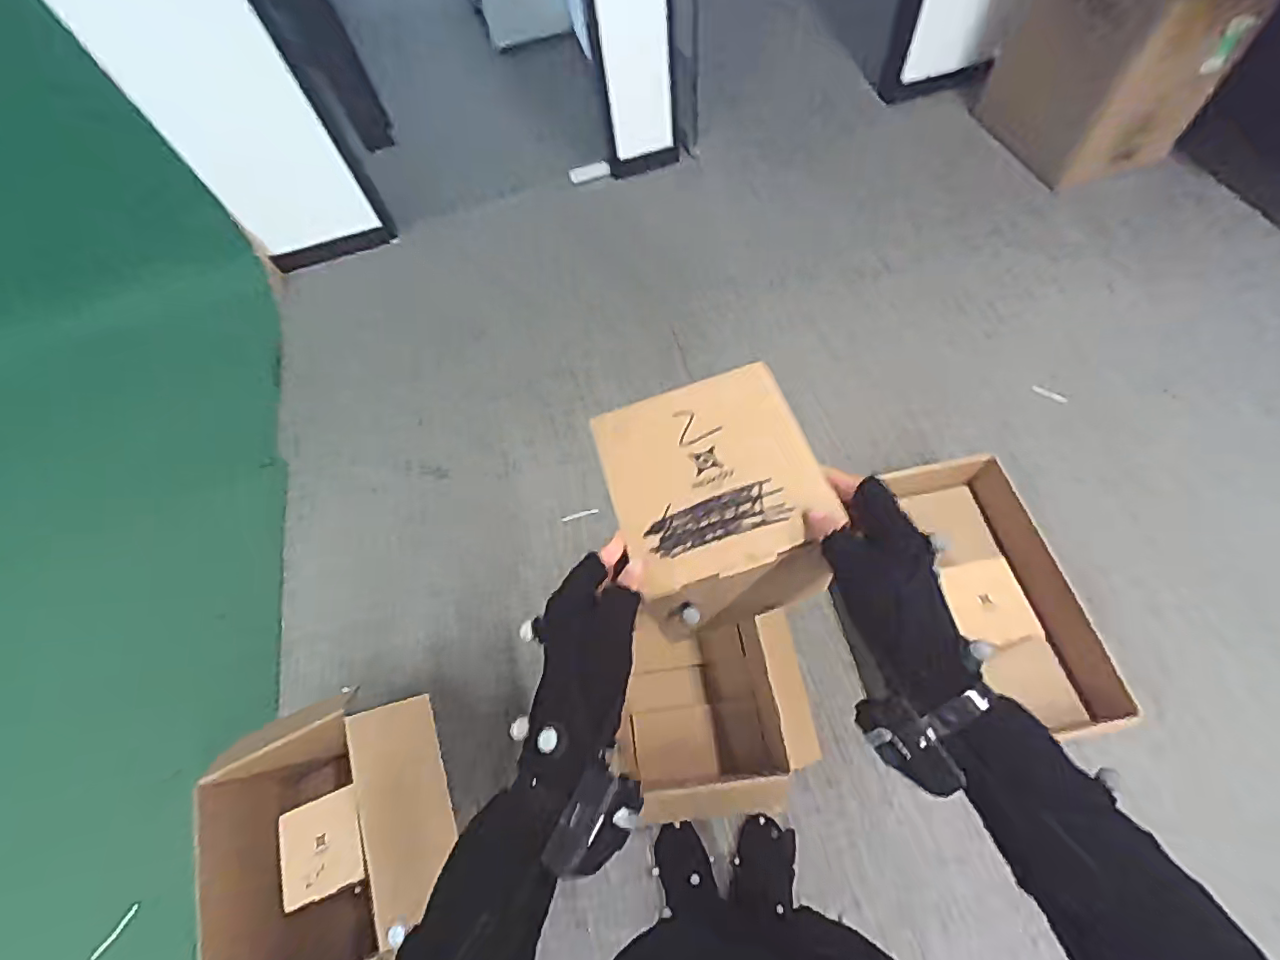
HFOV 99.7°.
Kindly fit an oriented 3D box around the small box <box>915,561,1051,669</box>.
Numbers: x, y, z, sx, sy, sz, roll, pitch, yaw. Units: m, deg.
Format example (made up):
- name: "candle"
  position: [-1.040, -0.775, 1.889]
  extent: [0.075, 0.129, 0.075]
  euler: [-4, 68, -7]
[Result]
- name: "small box"
  position: [0.747, 0.304, 1.203]
  extent: [0.168, 0.176, 0.179]
  euler: [-12, 61, 0]
